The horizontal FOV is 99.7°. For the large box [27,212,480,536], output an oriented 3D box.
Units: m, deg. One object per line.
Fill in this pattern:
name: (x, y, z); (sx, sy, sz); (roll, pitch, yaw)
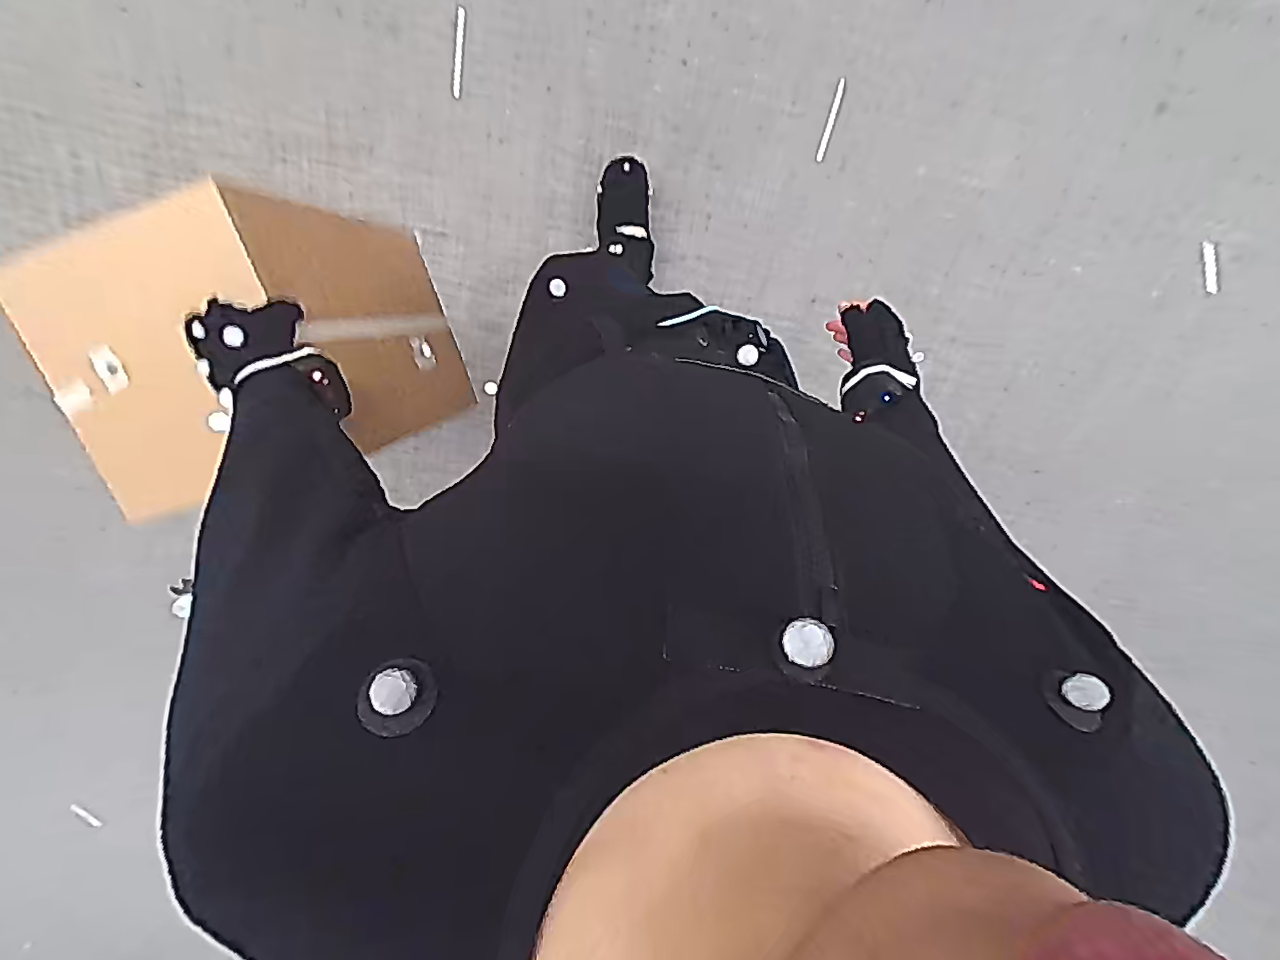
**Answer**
large box: (-0.506, -0.158, 0.816); (0.320, 0.408, 0.320); (-15, 103, 10)
